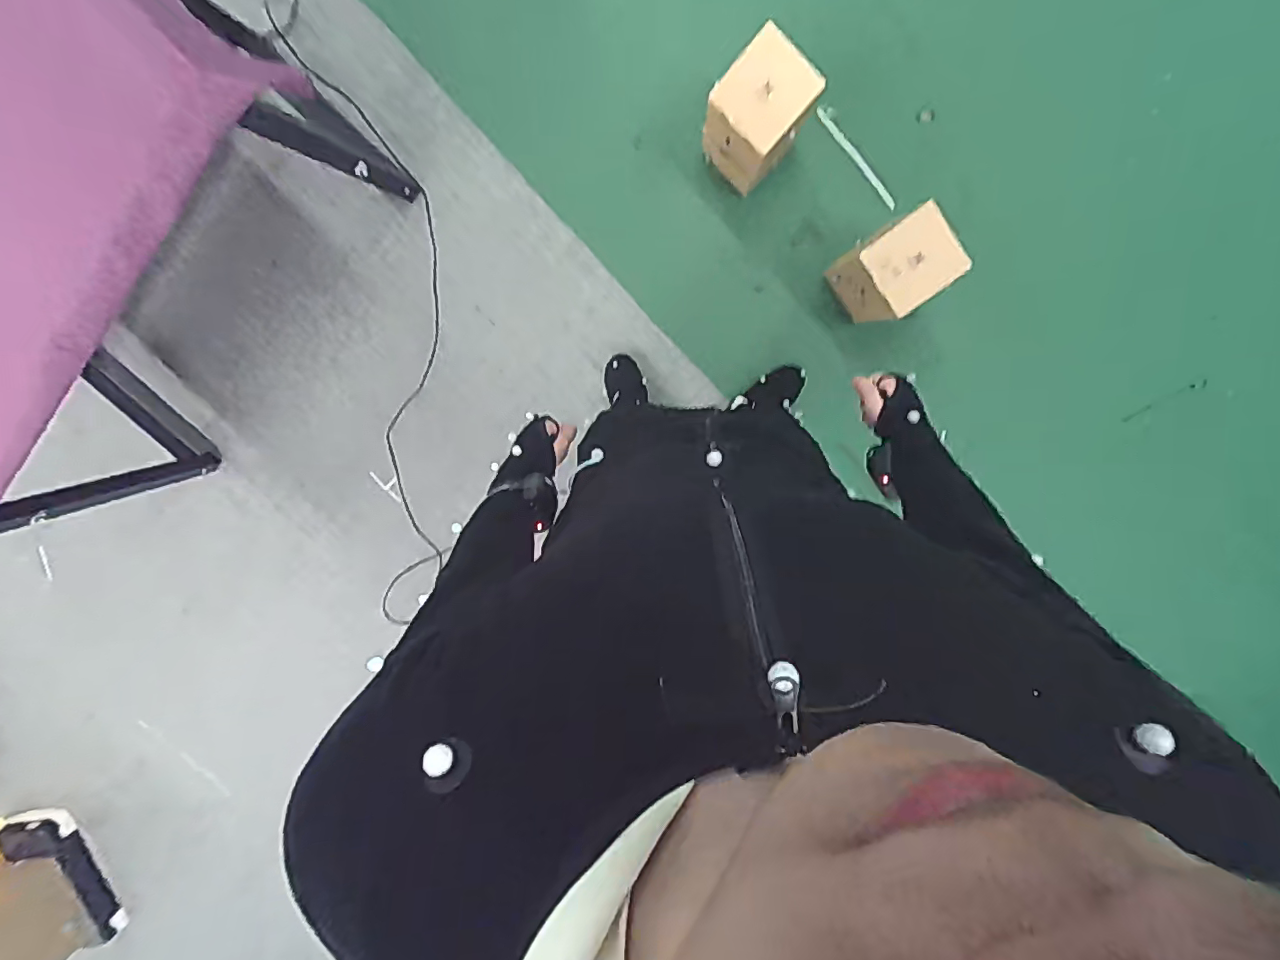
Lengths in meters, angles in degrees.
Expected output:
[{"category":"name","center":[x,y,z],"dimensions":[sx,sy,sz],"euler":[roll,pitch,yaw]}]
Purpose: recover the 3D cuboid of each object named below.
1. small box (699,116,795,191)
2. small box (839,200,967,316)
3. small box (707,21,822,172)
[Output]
[{"category":"small box","center":[0.264,-0.850,1.324],"dimensions":[0.168,0.176,0.179],"euler":[44,104,-6]},{"category":"small box","center":[0.581,-0.489,1.218],"dimensions":[0.179,0.176,0.168],"euler":[-35,99,13]},{"category":"small box","center":[0.256,-0.811,1.166],"dimensions":[0.168,0.176,0.179],"euler":[43,105,-7]}]
